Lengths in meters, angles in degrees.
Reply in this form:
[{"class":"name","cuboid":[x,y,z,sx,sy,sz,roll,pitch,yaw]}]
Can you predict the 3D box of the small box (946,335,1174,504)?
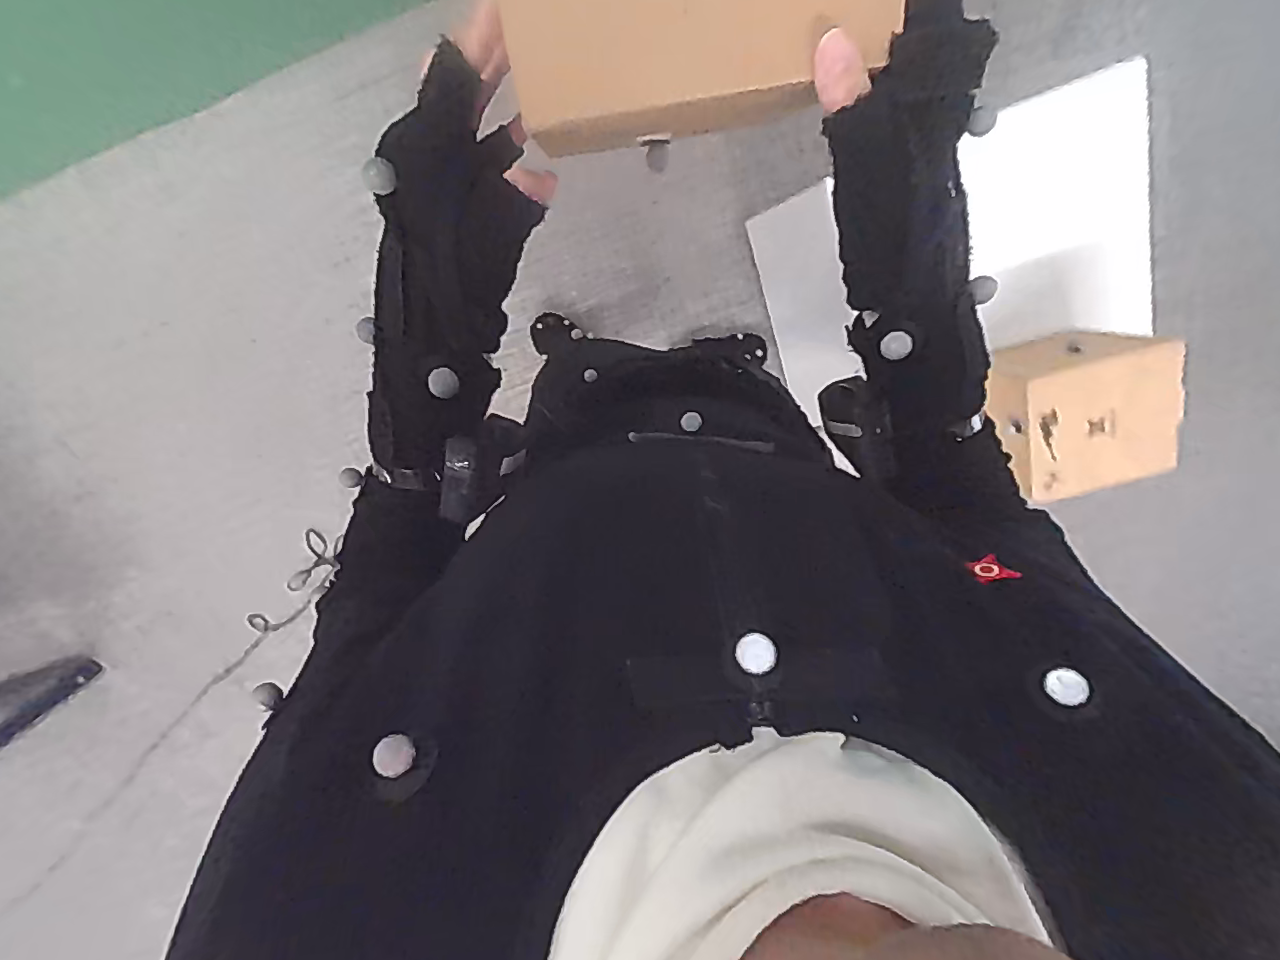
[{"class":"small box","cuboid":[0.548,-0.090,0.728,0.179,0.176,0.168,-14,109,4]}]
